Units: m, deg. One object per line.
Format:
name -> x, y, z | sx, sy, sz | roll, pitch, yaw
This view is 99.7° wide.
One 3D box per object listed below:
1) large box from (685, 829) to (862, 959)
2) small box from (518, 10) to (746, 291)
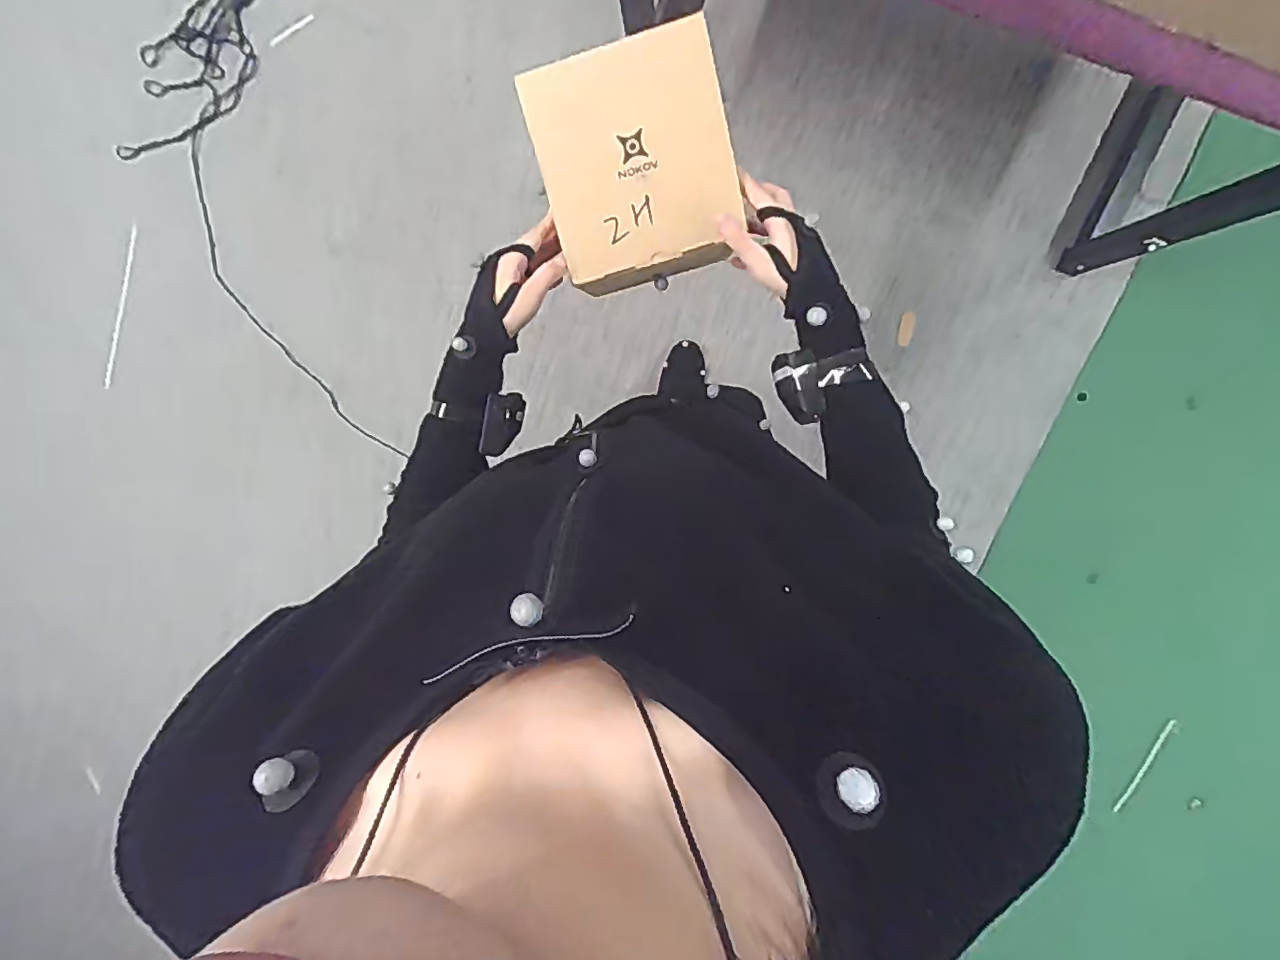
large box -> 0.341, 1.243, 1.502 | 0.408, 0.320, 0.320 | 8, 99, 2
small box -> -0.003, -0.303, 0.541 | 0.168, 0.176, 0.179 | -14, 105, 6
